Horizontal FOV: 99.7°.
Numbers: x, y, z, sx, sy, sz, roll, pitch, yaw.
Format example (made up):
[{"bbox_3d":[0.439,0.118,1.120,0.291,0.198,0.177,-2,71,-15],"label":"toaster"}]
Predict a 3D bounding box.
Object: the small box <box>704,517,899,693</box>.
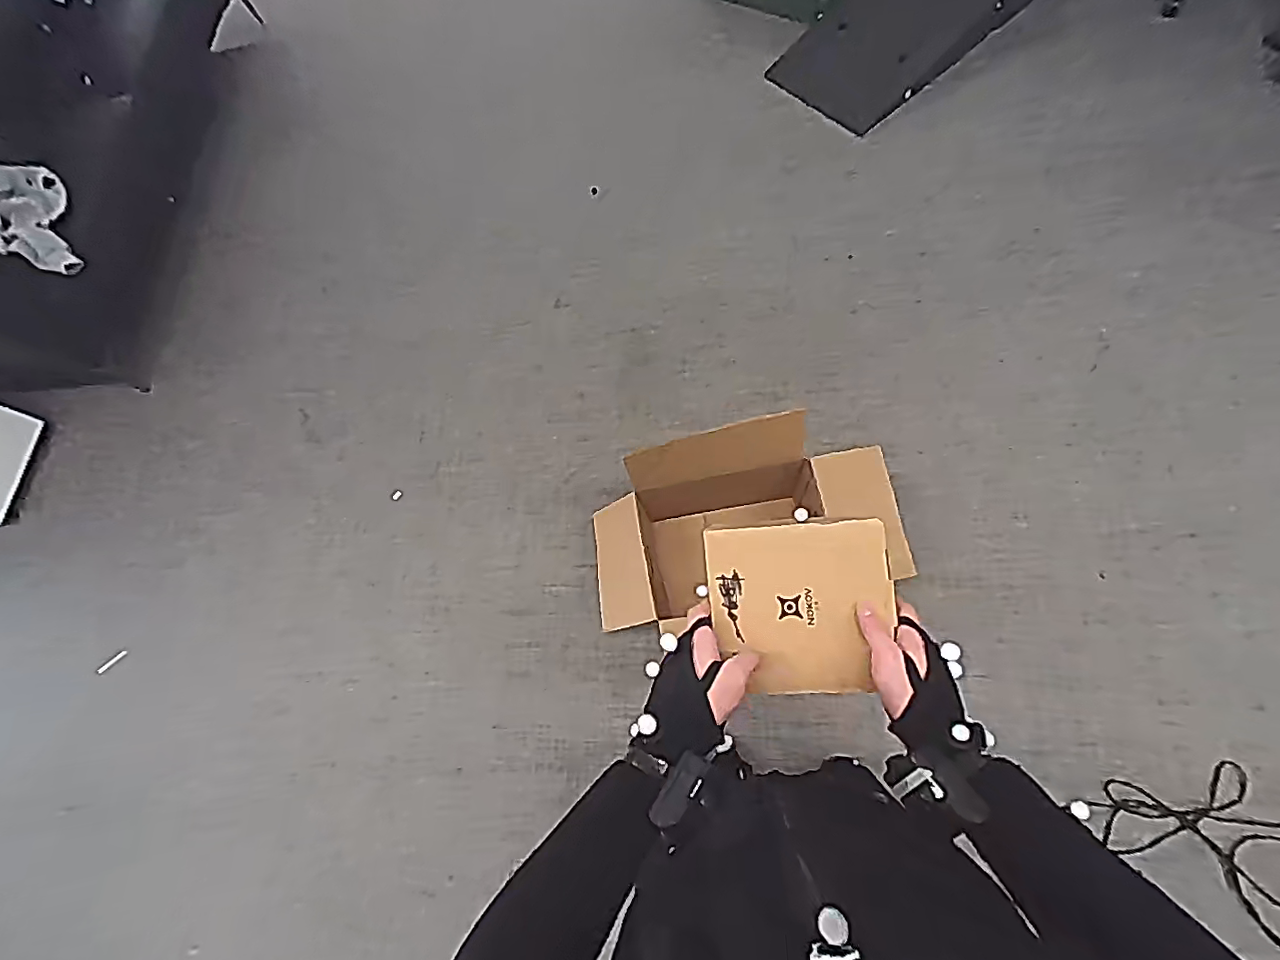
[{"bbox_3d":[0.171,0.131,0.614,0.179,0.176,0.168,-6,85,11],"label":"small box"}]
